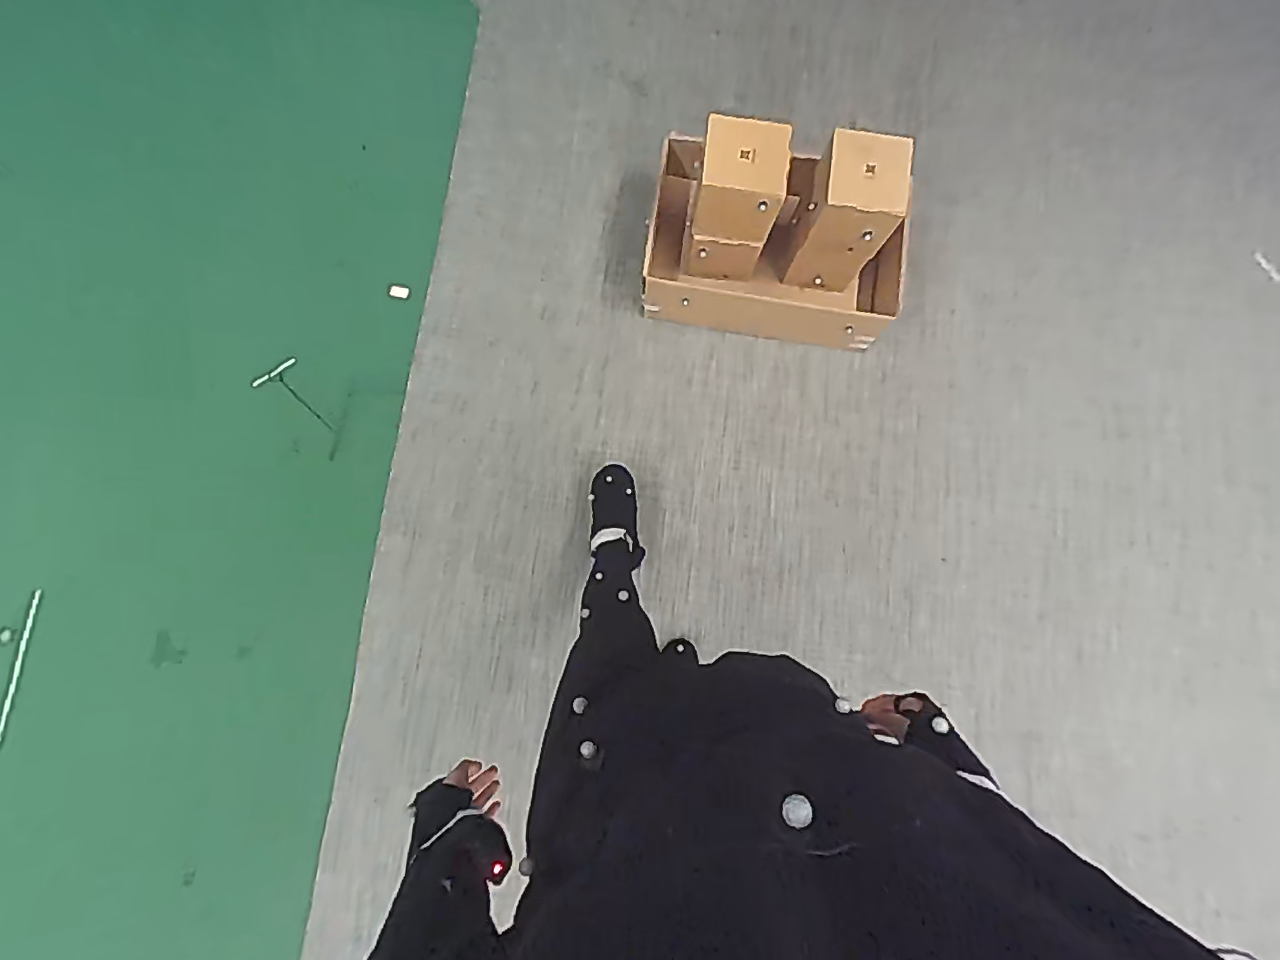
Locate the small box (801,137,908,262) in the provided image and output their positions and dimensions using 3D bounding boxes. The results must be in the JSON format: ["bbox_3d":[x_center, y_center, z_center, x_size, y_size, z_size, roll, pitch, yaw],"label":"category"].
[{"bbox_3d":[0.466,-0.610,1.196,0.168,0.176,0.179,9,81,0],"label":"small box"}]

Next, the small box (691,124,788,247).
[{"bbox_3d":[0.213,-0.642,1.196,0.179,0.176,0.168,7,81,-1],"label":"small box"}]
